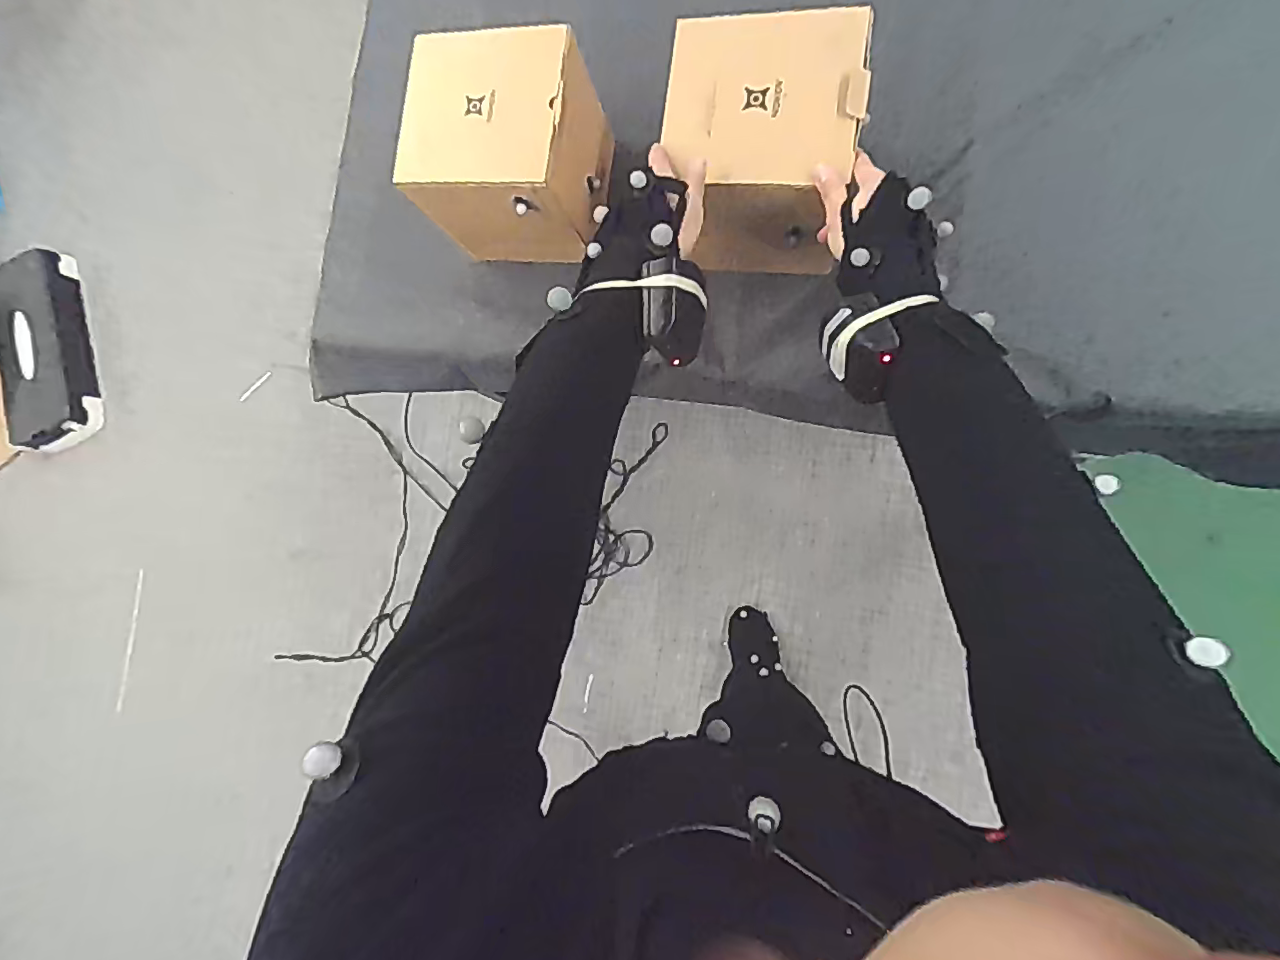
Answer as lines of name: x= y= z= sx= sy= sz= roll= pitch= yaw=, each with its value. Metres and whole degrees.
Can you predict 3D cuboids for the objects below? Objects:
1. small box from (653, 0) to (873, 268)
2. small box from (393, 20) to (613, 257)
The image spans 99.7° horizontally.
small box: x=0.125 y=-0.335 z=0.557 sx=0.179 sy=0.176 sz=0.168 roll=7 pitch=86 yaw=15
small box: x=-0.145 y=-0.375 z=0.624 sx=0.179 sy=0.176 sz=0.168 roll=7 pitch=86 yaw=13
